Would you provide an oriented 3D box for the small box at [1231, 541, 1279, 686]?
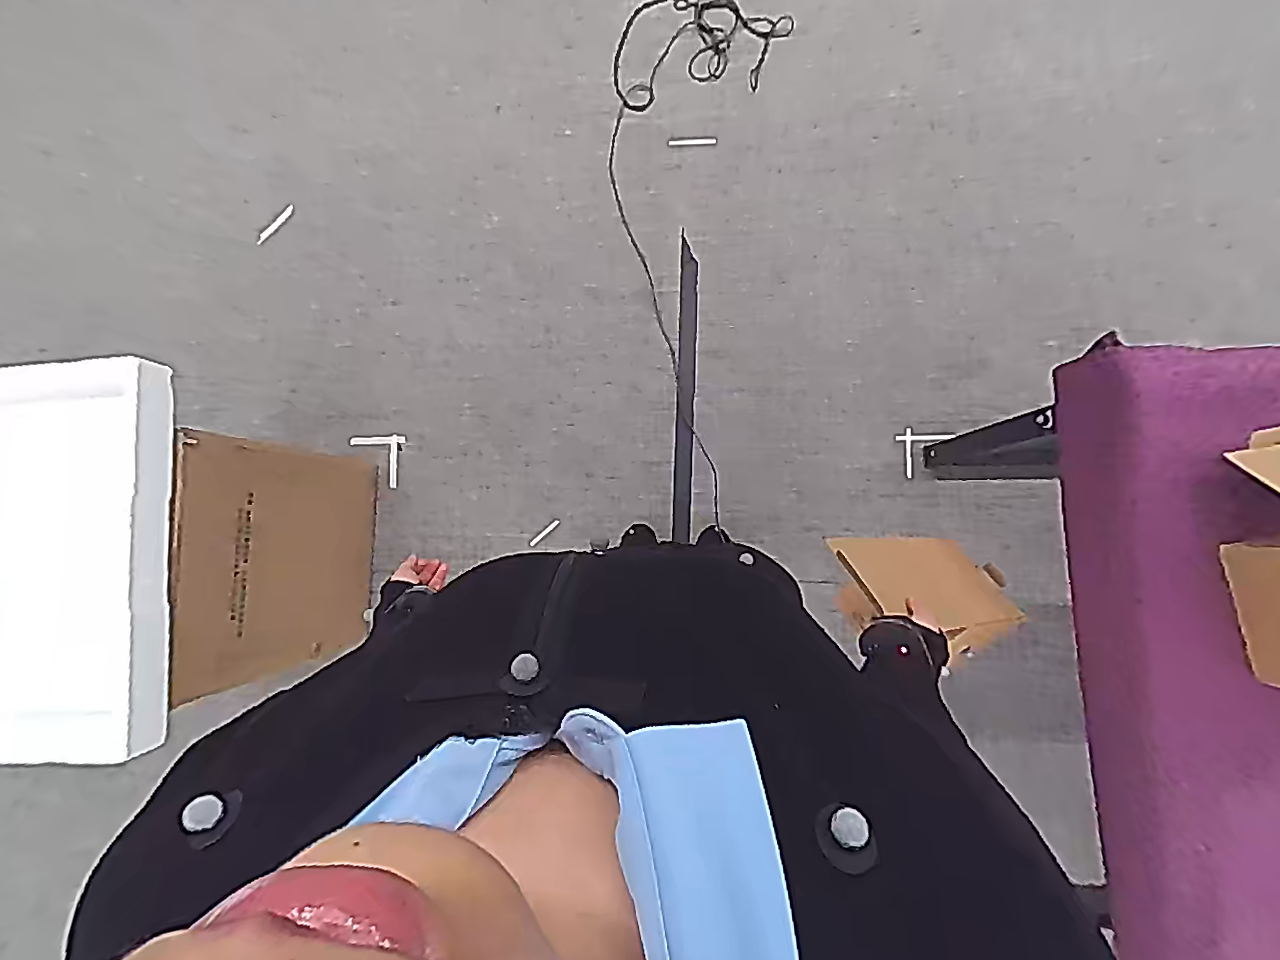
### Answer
[{"bbox_3d":[0.824,0.150,0.592,0.168,0.176,0.179,-10,85,6],"label":"small box"}]
